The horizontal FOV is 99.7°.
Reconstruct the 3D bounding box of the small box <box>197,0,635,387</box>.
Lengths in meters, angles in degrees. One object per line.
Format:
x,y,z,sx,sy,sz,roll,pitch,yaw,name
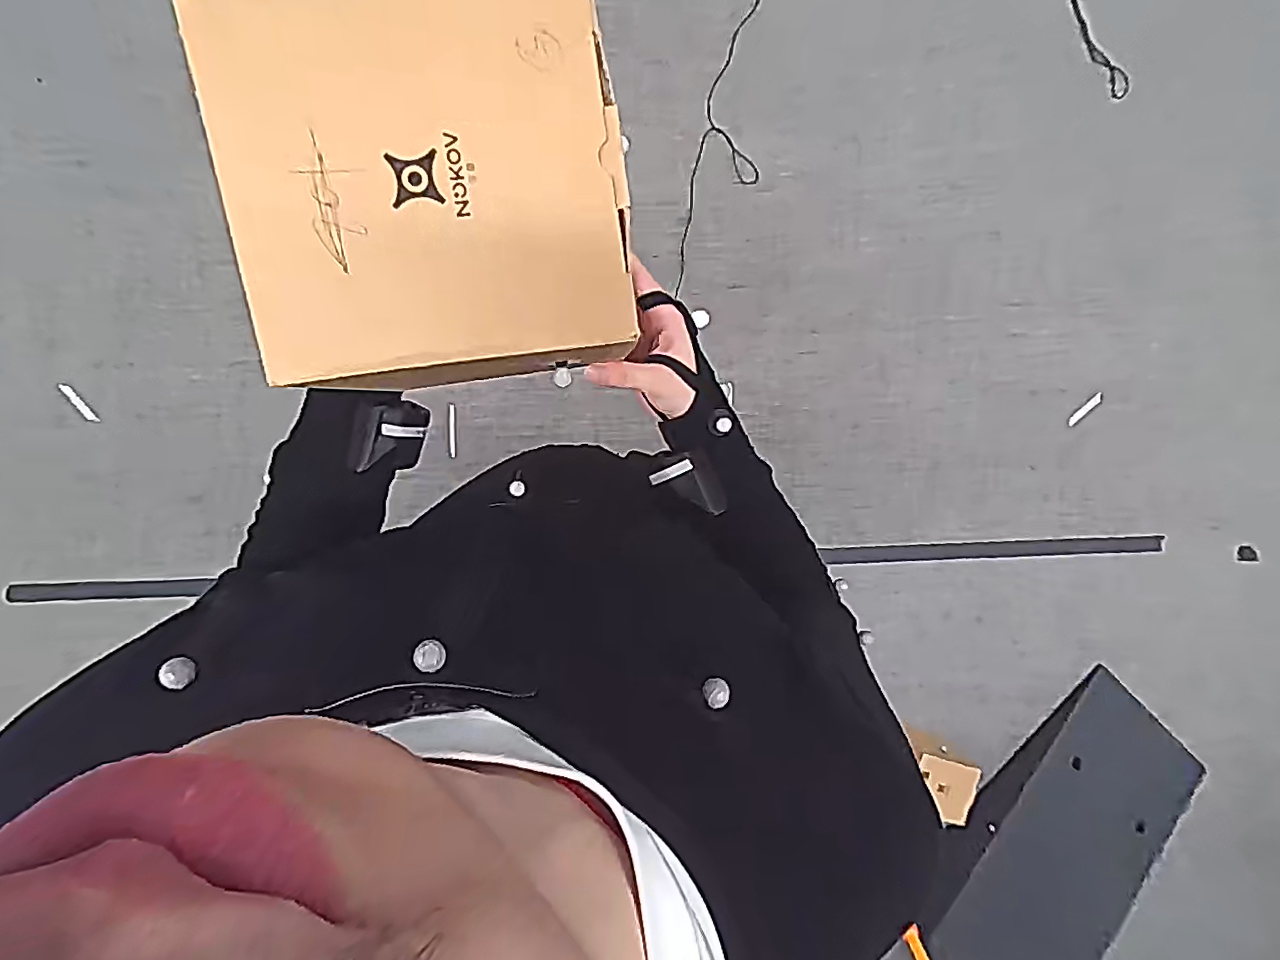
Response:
-0.105,-0.151,0.333,0.179,0.176,0.168,-9,99,-3,small box
